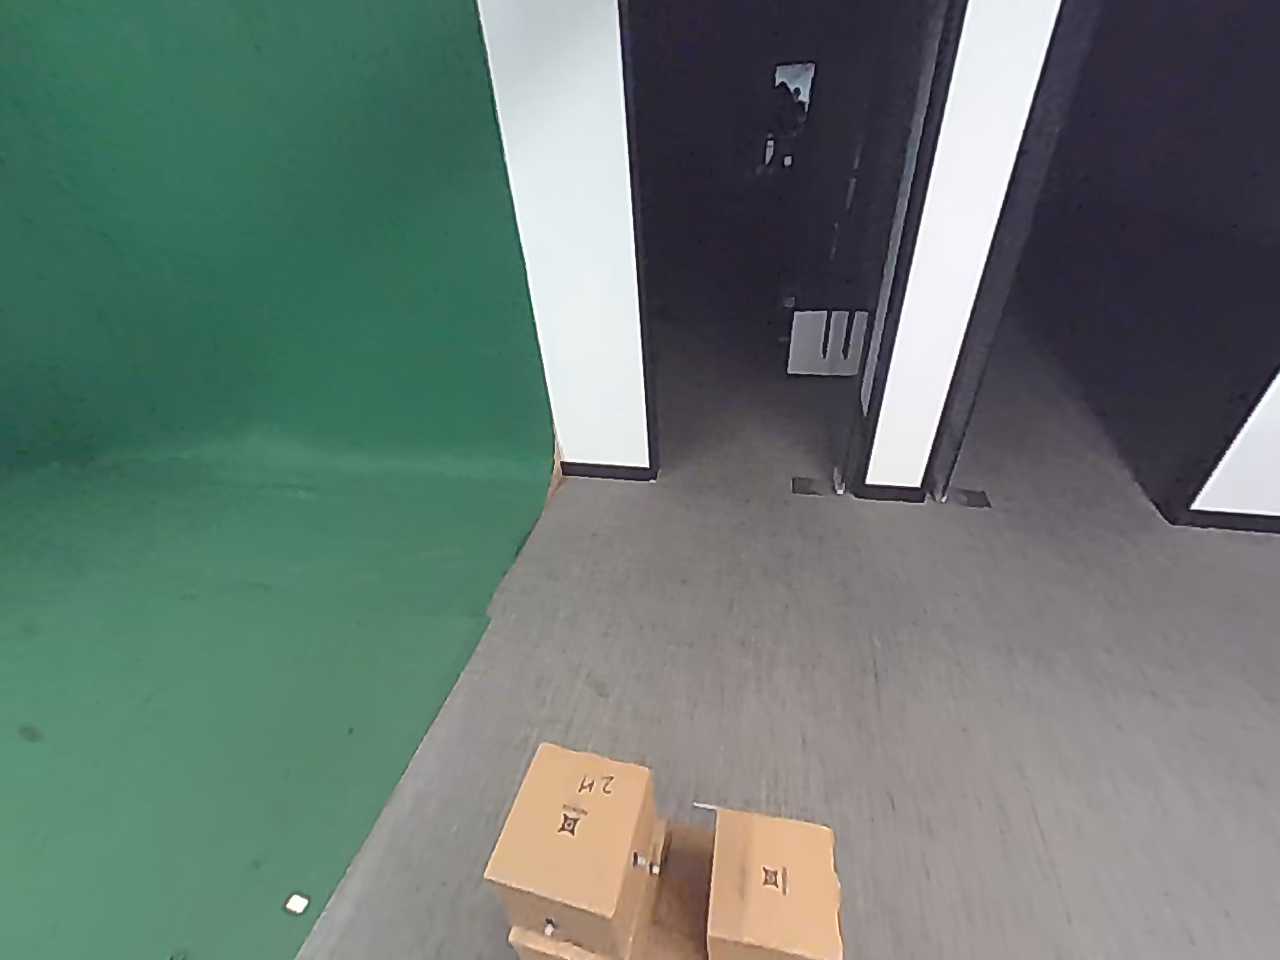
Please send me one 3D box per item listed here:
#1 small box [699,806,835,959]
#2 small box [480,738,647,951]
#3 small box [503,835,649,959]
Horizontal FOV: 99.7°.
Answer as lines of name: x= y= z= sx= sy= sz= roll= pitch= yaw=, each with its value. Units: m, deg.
small box: x=0.187 y=0.630 z=0.812 sx=0.179 sy=0.176 sz=0.168 roll=3 pitch=35 yaw=13
small box: x=-0.088 y=0.497 z=0.740 sx=0.168 sy=0.176 sz=0.179 roll=8 pitch=37 yaw=14
small box: x=-0.083 y=0.638 z=0.826 sx=0.168 sy=0.176 sz=0.179 roll=7 pitch=37 yaw=13
